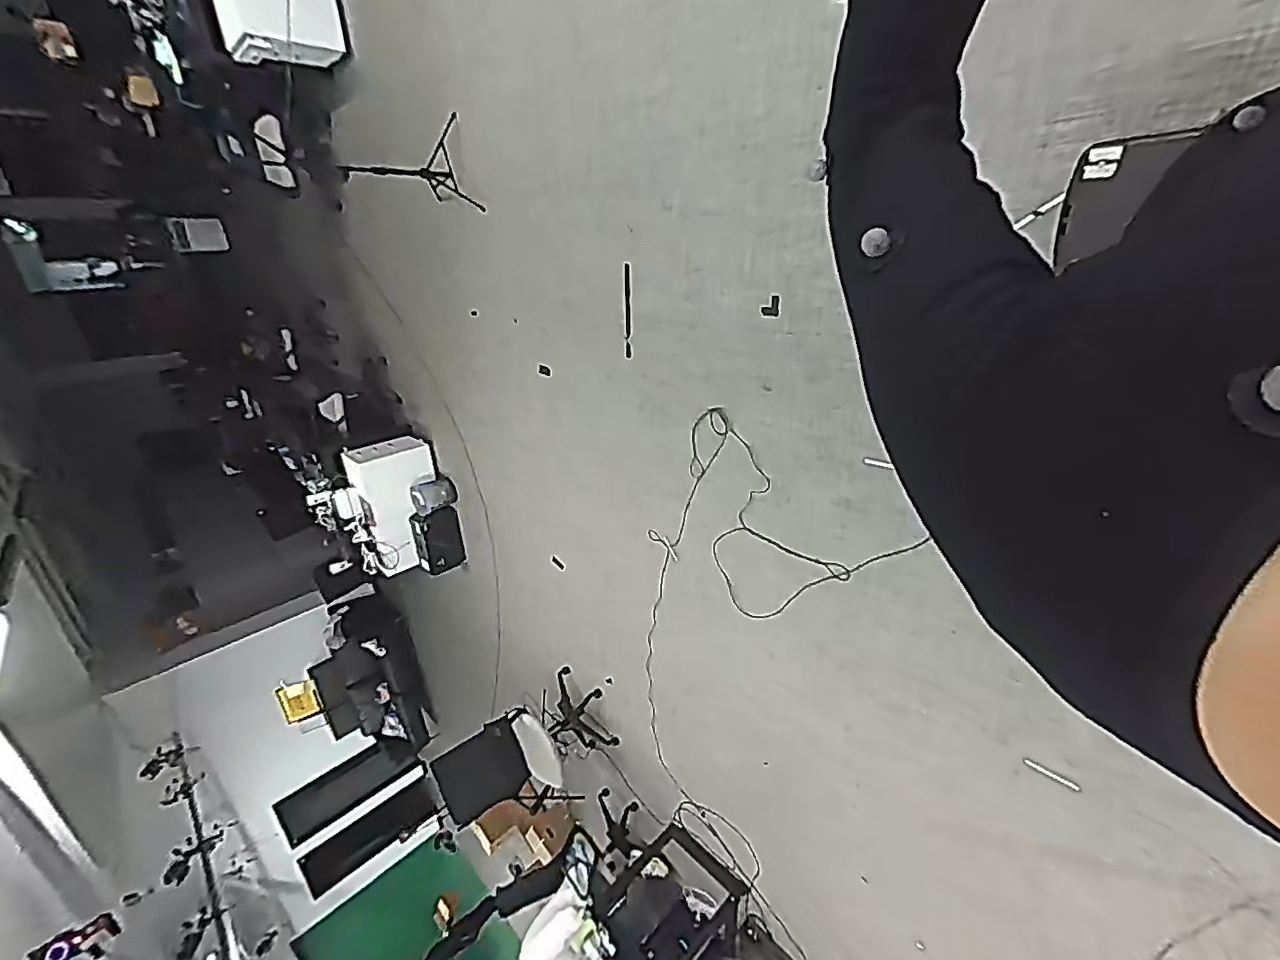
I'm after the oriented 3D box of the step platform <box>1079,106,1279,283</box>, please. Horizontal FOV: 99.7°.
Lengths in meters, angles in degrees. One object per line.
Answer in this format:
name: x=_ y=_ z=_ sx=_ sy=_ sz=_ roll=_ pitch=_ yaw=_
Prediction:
step platform: x=1.198 y=-0.497 z=0.930 sx=0.684 sy=0.204 sz=0.286 roll=17 pitch=121 yaw=42
